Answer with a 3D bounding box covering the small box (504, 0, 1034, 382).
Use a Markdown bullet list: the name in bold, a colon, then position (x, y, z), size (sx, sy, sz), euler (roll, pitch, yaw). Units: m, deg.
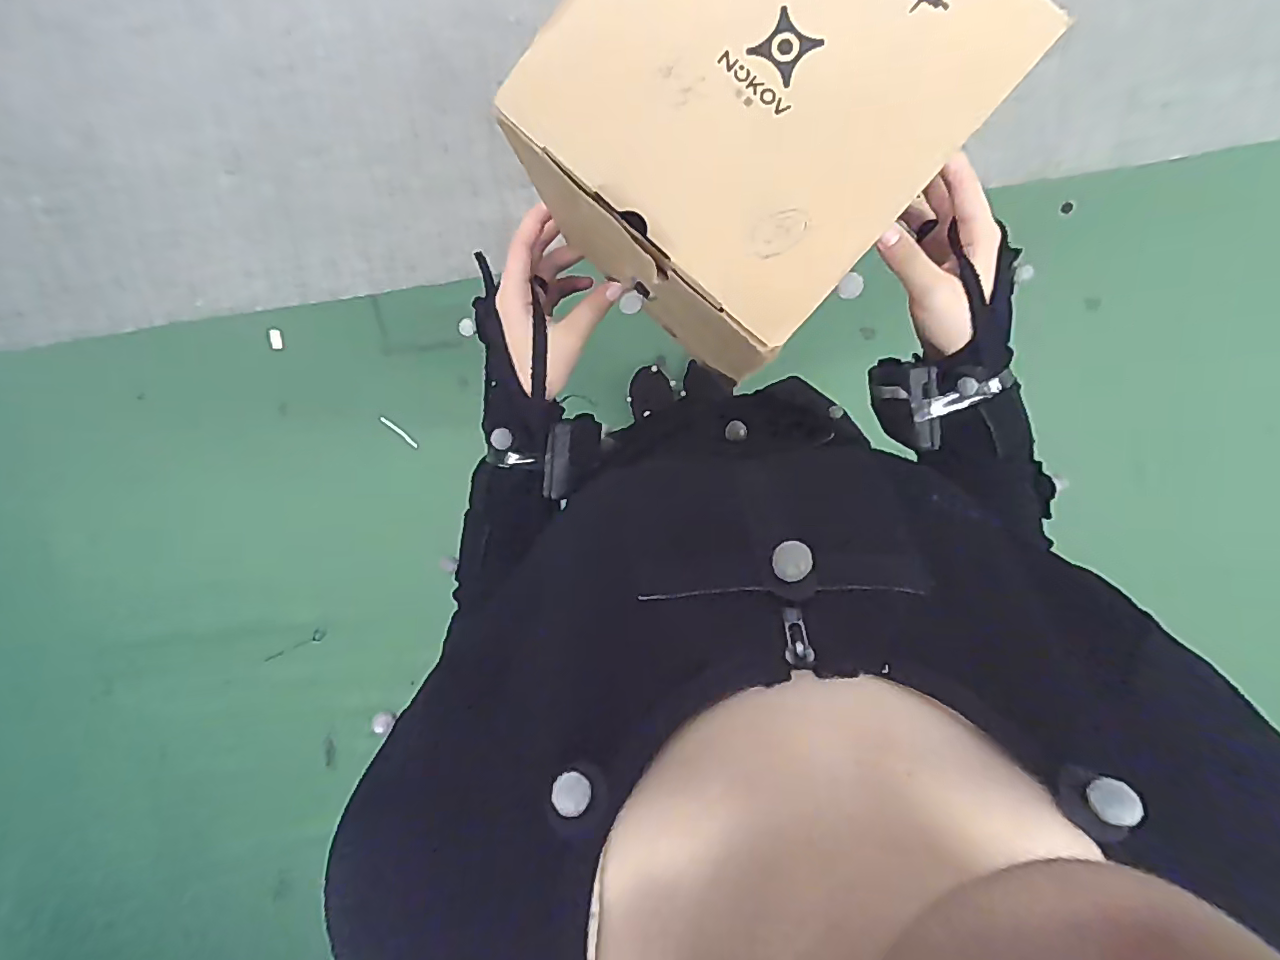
- **small box**: position (0.059, -0.176, 0.317), size (0.168, 0.176, 0.179), euler (41, 96, 0)
